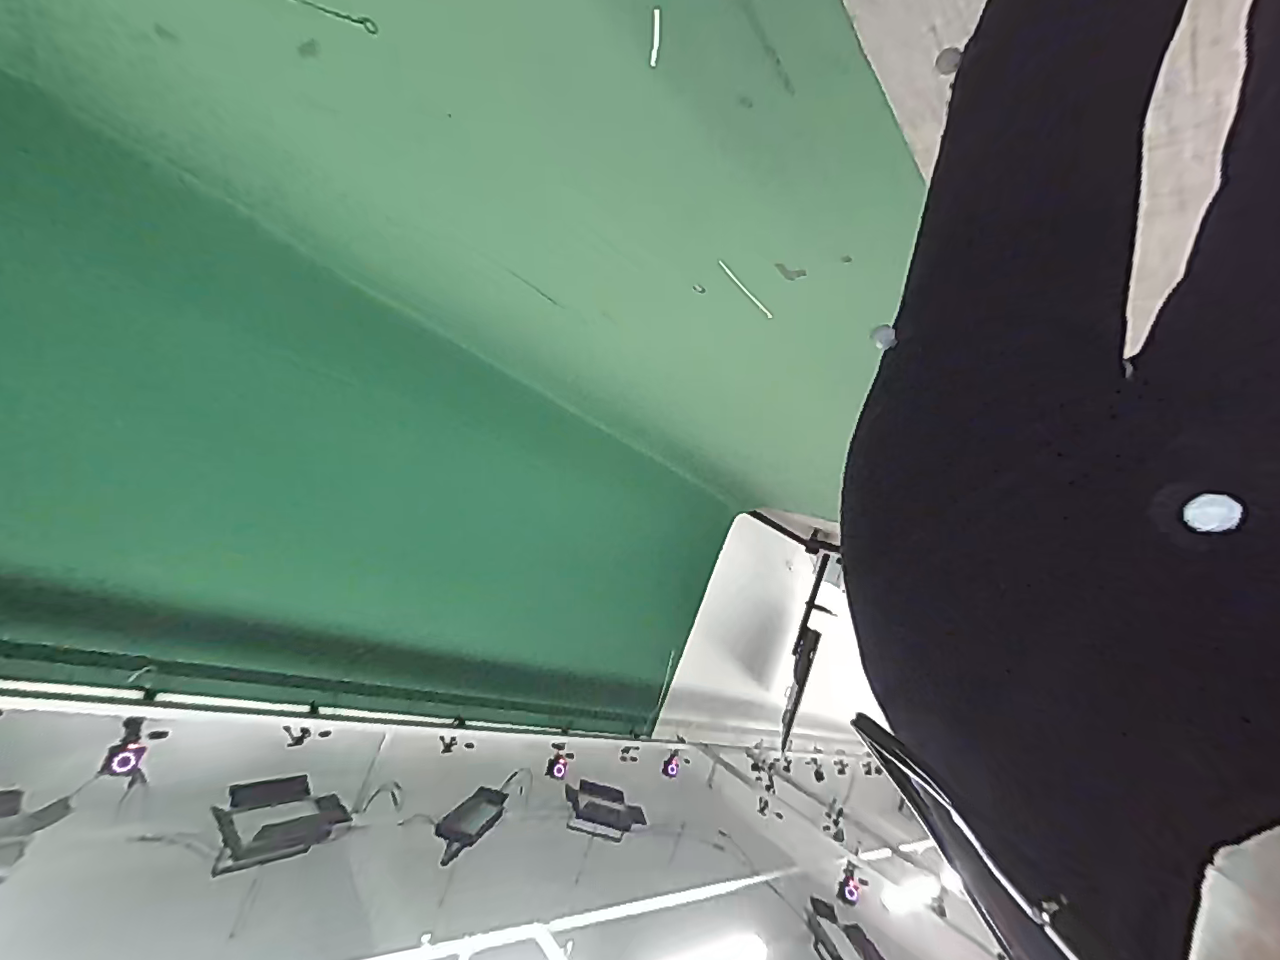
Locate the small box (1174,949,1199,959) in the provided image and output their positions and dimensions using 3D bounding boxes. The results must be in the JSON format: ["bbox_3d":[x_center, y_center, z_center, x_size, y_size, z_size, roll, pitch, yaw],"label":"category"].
[{"bbox_3d":[1.582,1.462,1.492,0.168,0.176,0.179,27,172,-39],"label":"small box"}]
